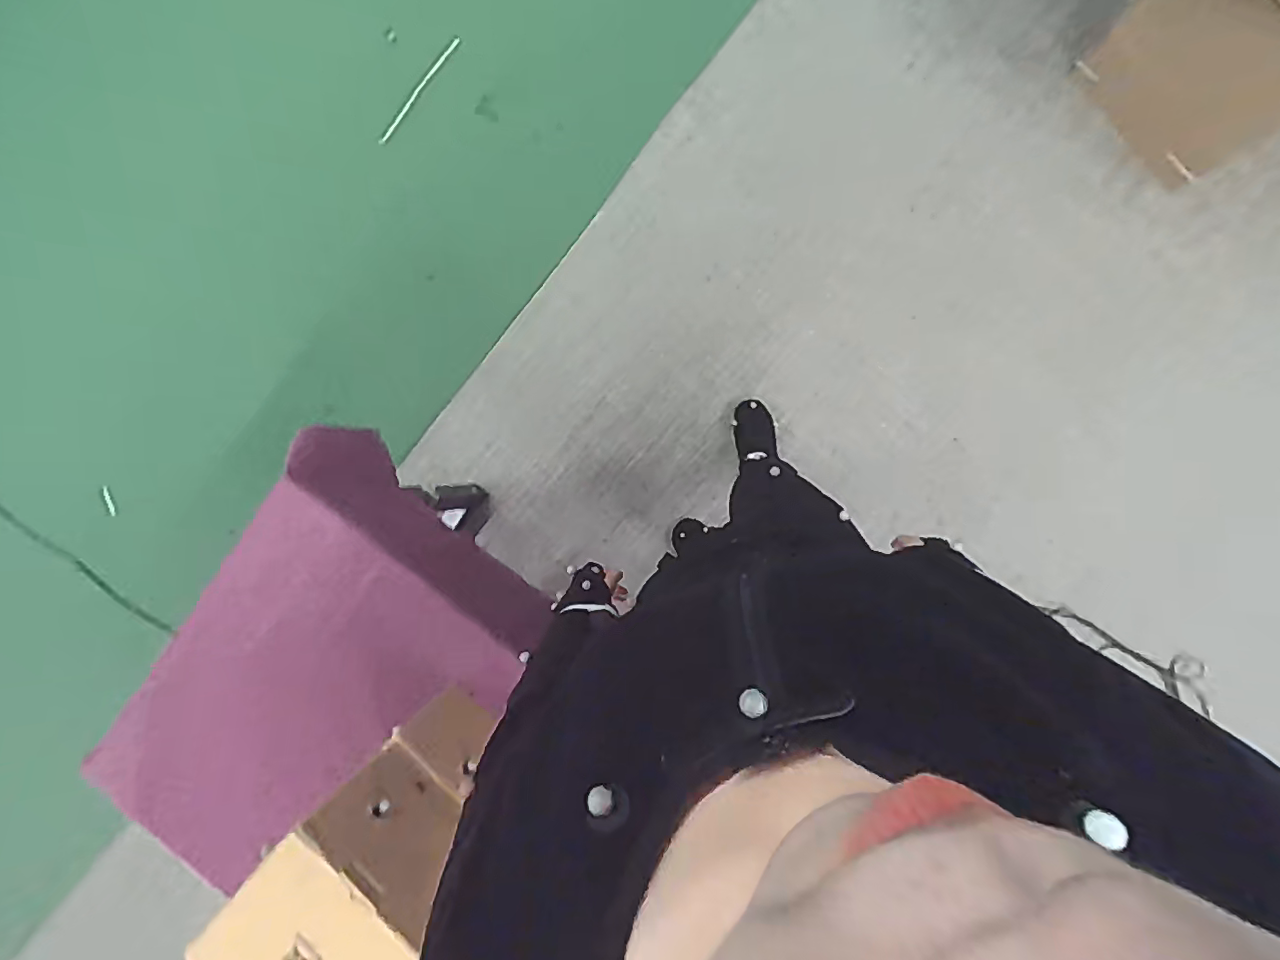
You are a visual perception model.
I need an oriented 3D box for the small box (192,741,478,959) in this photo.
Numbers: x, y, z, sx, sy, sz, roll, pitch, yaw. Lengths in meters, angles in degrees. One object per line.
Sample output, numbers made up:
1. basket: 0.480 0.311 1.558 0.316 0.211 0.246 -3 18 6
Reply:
1. small box: -0.301 0.424 0.577 0.168 0.176 0.179 42 96 6
